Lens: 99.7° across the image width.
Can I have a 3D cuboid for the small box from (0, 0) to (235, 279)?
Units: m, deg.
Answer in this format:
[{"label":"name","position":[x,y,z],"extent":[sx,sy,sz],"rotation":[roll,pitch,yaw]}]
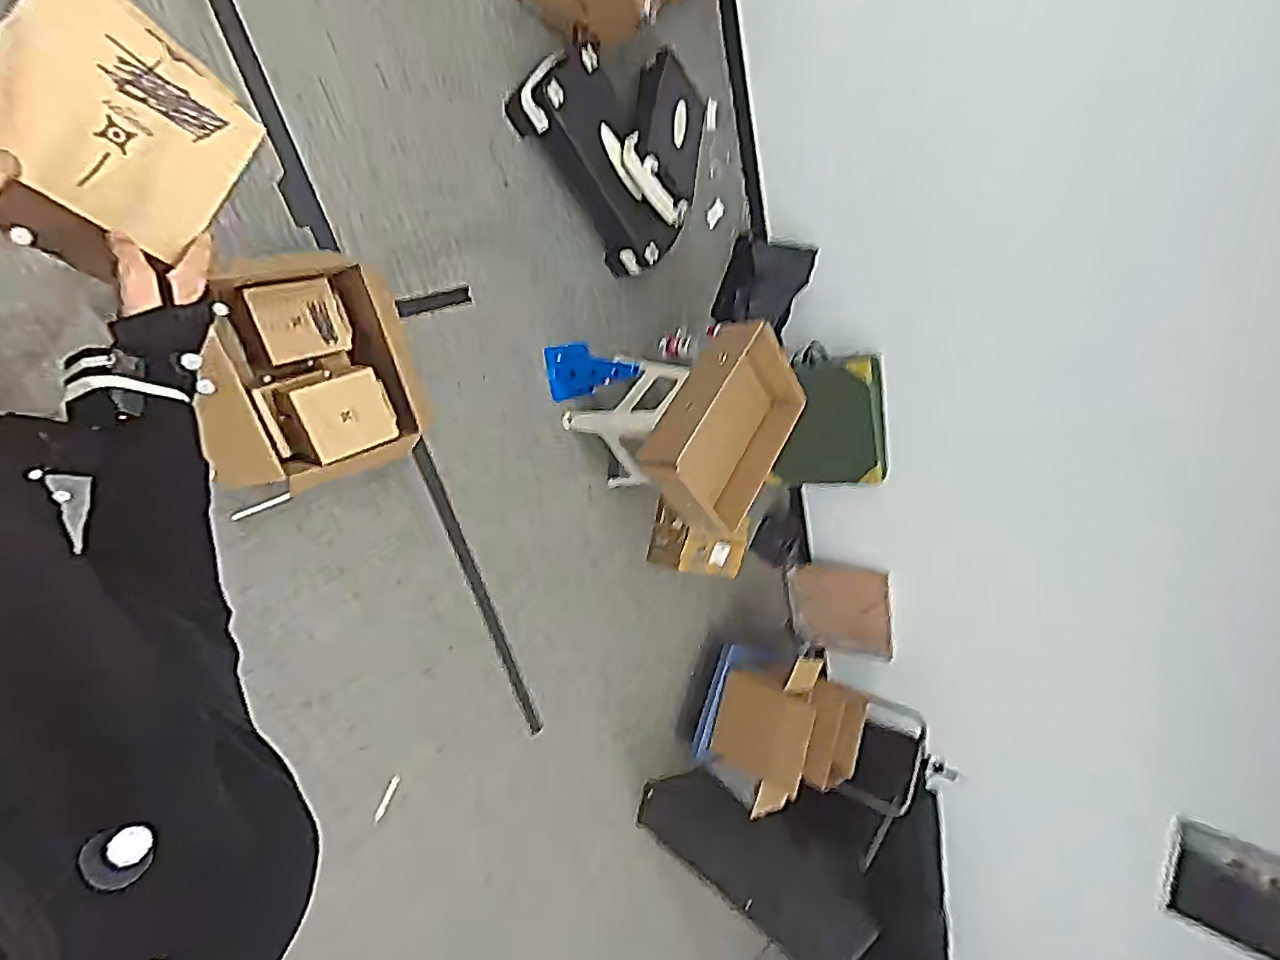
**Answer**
[{"label":"small box","position":[-0.554,-0.324,0.528],"extent":[0.168,0.176,0.179],"rotation":[35,64,-55]}]
